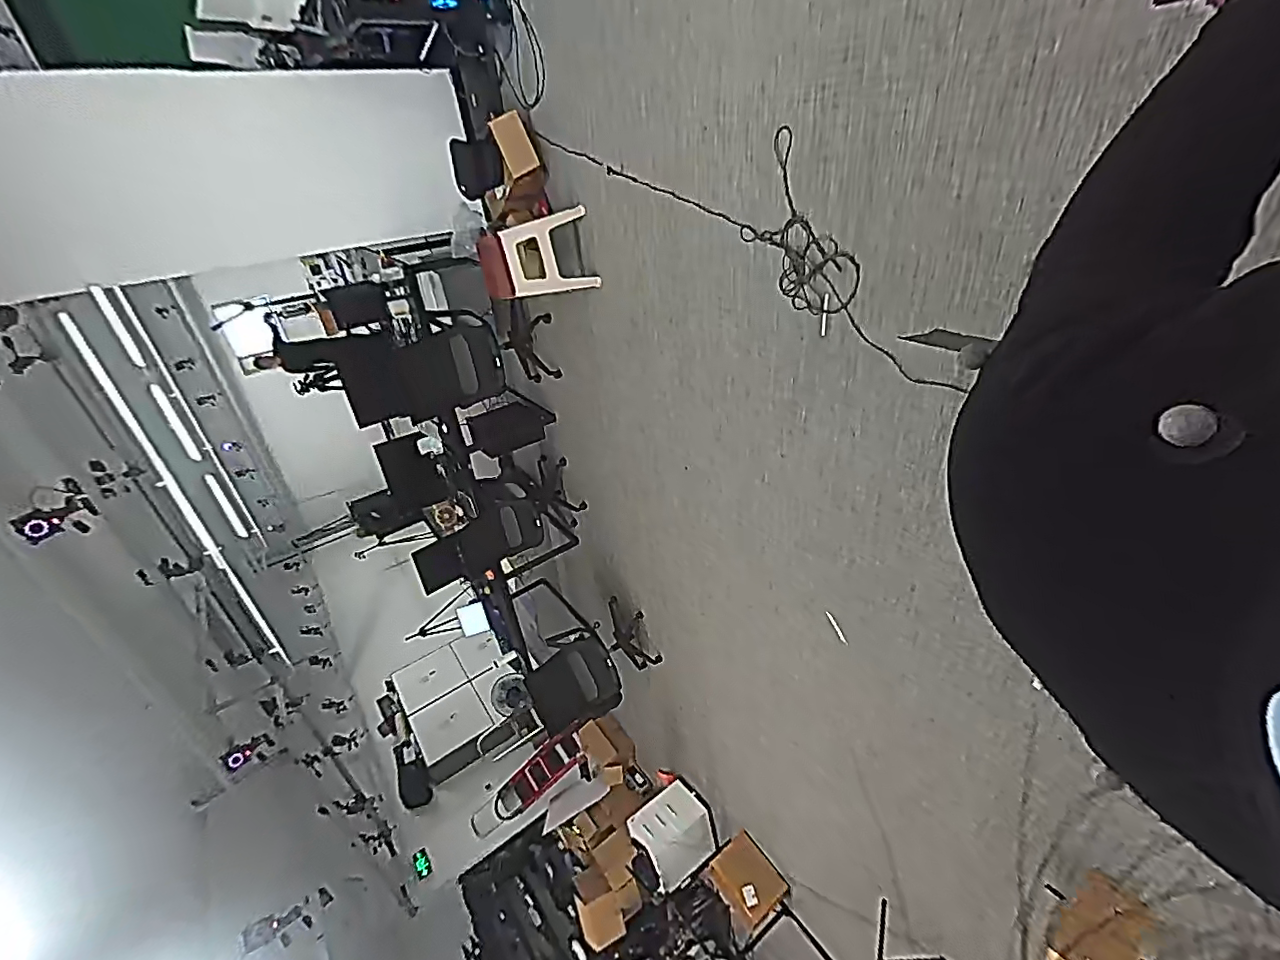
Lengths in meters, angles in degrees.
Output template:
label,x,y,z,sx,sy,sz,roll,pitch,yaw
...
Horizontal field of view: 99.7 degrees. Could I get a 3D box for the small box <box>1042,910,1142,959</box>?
label,x,y,z,sx,sy,sz,roll,pitch,yaw
small box,1.340,1.440,1.612,0.179,0.176,0.168,26,133,49

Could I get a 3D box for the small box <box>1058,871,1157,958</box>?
label,x,y,z,sx,sy,sz,roll,pitch,yaw
small box,1.468,1.384,1.696,0.168,0.176,0.179,36,141,44
